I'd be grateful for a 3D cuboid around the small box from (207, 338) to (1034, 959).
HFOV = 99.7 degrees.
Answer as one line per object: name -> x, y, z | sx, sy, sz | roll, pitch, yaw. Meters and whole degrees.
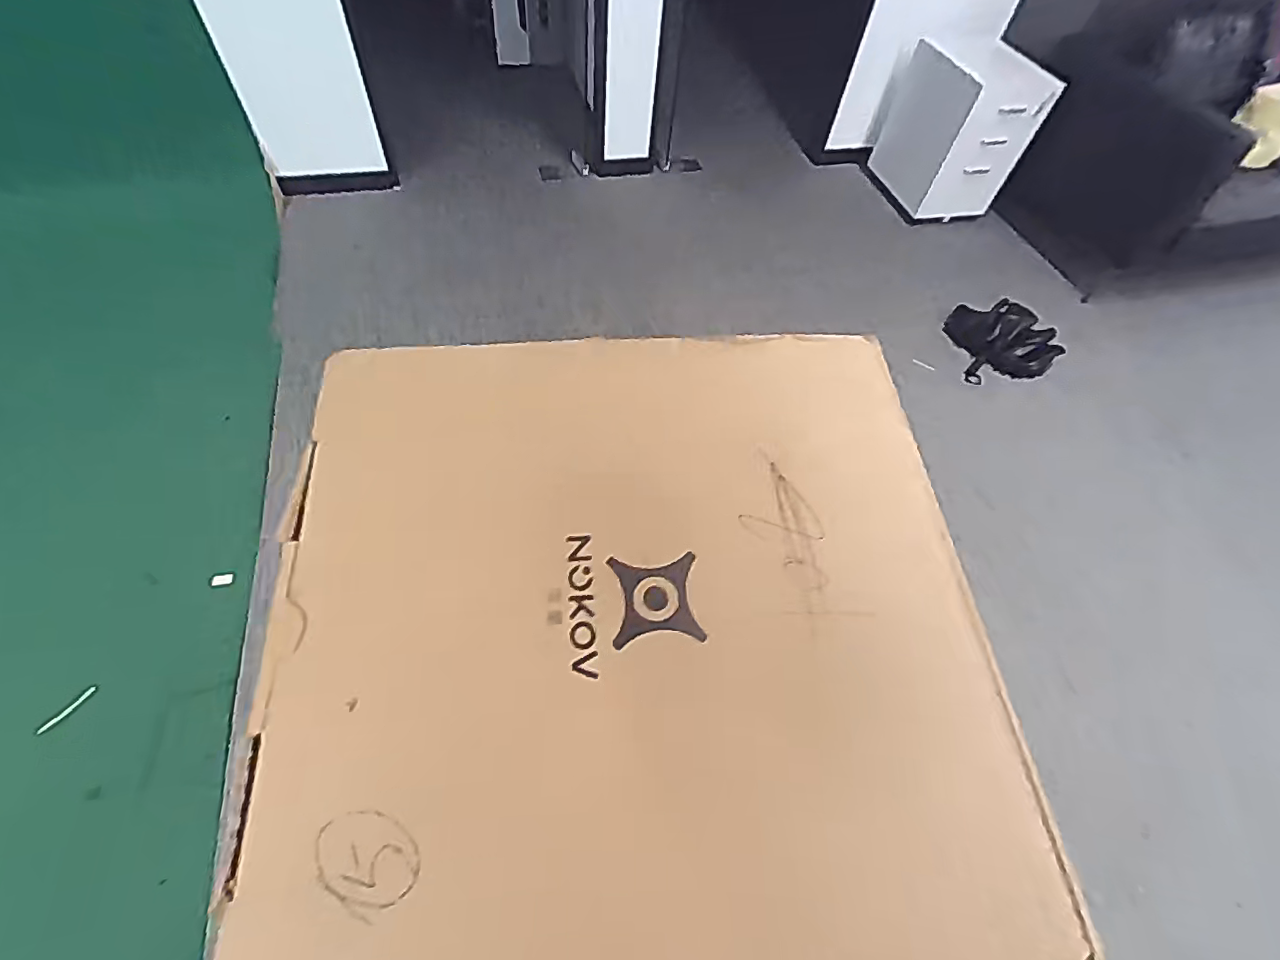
small box -> -0.011, 0.064, 0.216 | 0.179, 0.176, 0.168 | -3, 65, -7
